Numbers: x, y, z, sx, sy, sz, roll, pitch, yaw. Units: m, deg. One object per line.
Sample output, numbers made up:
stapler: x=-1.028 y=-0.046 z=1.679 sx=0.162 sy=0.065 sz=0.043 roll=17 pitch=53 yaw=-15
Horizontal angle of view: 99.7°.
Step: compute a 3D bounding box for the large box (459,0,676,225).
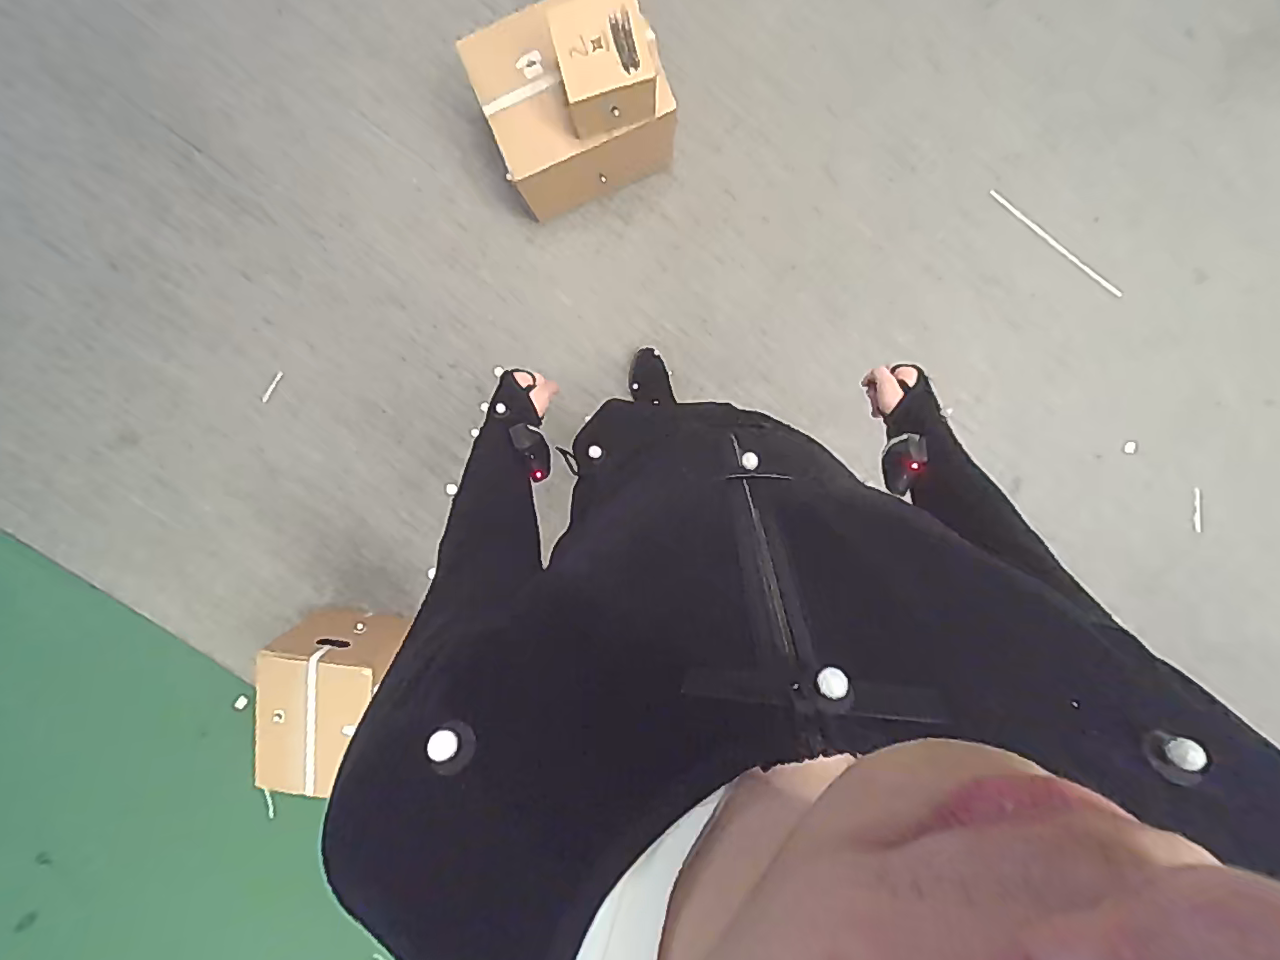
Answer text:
large box: x=-0.154 y=-0.895 z=1.328 sx=0.408 sy=0.320 sz=0.320 roll=-22 pitch=97 yaw=5
